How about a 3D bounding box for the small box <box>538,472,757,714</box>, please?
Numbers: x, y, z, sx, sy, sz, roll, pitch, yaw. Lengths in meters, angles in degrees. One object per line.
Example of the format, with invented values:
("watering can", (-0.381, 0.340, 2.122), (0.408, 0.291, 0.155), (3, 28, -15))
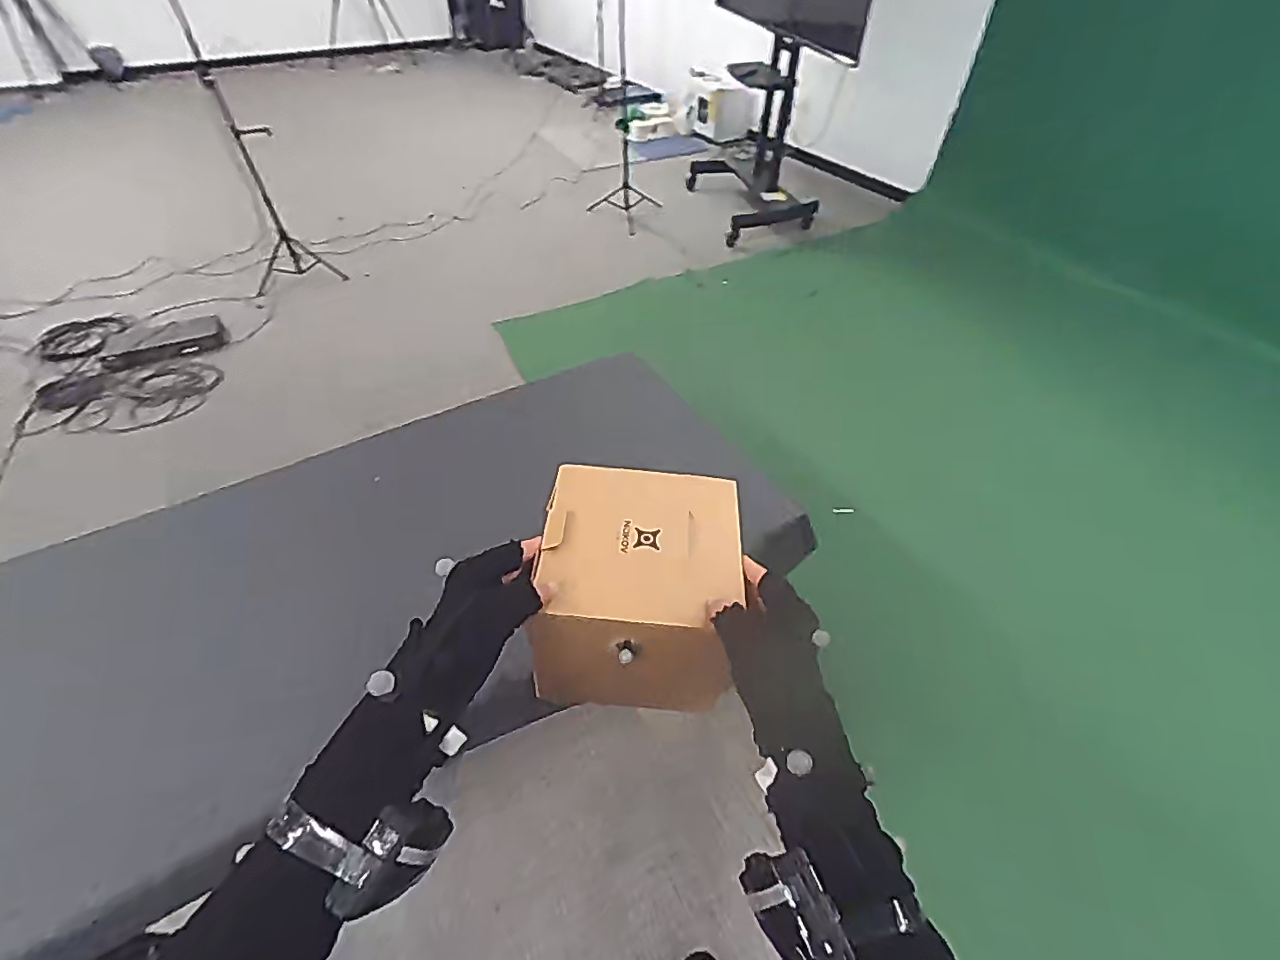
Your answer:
("small box", (0.005, 0.114, 0.532), (0.179, 0.176, 0.168), (6, 46, -1))
